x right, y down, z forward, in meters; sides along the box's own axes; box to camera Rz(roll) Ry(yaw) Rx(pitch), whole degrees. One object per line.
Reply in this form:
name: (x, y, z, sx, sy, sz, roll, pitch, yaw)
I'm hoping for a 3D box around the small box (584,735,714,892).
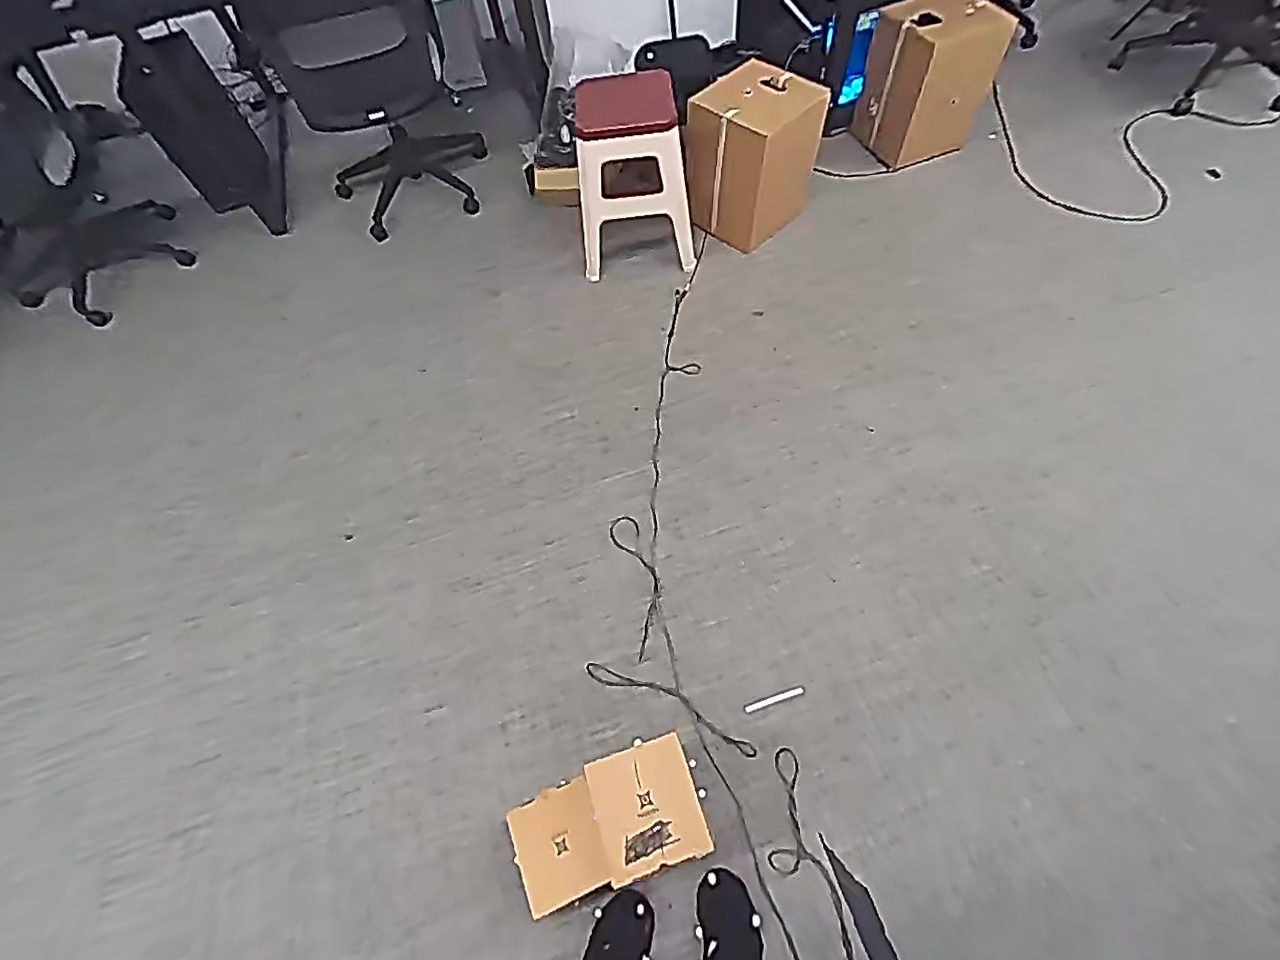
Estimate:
small box: (0.019, 0.552, 0.913, 0.168, 0.176, 0.179, -18, 60, -4)
